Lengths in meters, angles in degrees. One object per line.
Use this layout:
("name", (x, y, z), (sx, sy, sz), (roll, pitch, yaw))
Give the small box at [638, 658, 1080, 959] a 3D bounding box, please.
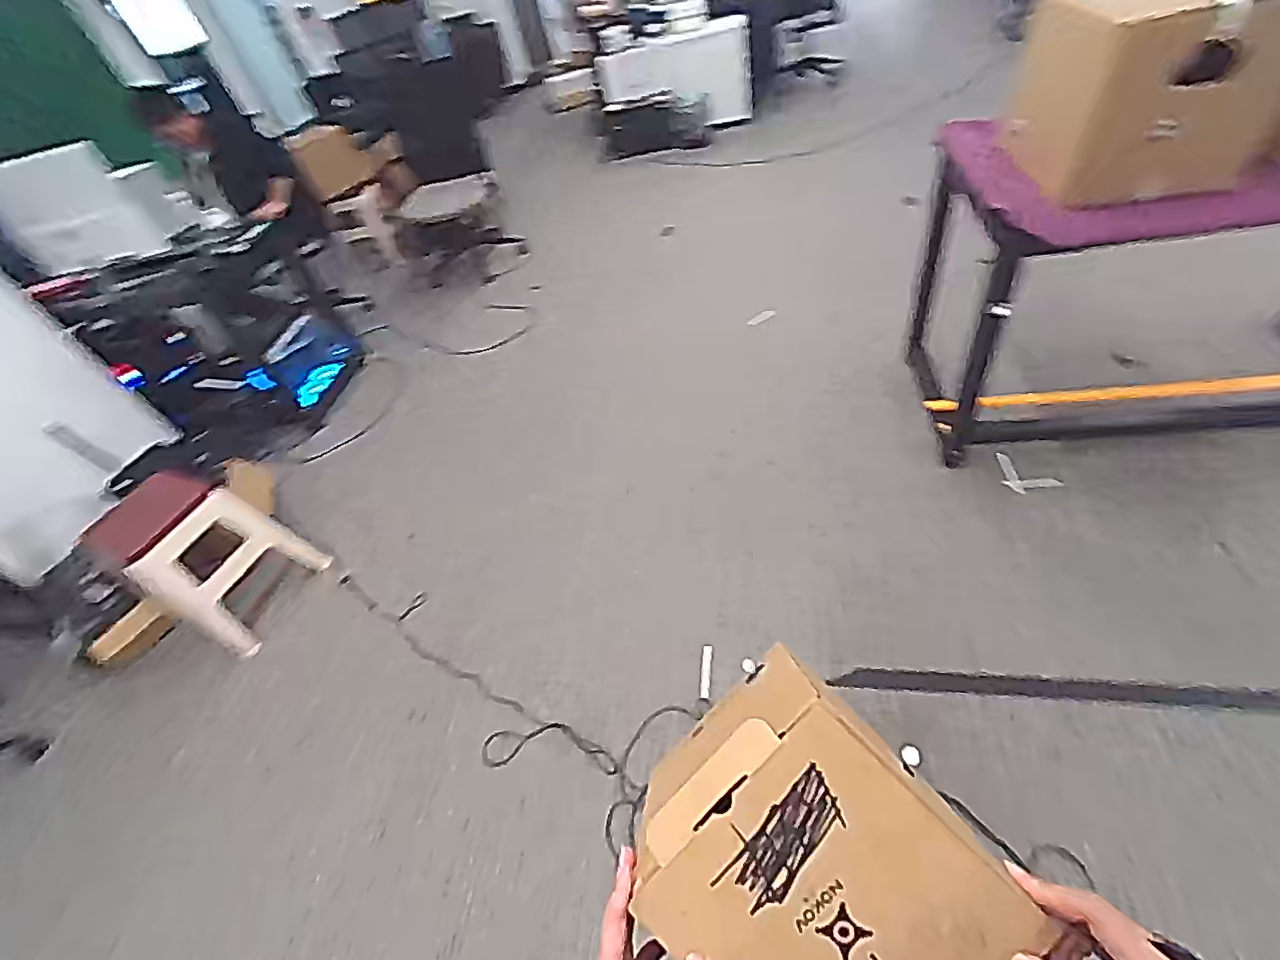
("small box", (0.122, 0.246, 0.373), (0.179, 0.176, 0.168), (45, 91, 8))
